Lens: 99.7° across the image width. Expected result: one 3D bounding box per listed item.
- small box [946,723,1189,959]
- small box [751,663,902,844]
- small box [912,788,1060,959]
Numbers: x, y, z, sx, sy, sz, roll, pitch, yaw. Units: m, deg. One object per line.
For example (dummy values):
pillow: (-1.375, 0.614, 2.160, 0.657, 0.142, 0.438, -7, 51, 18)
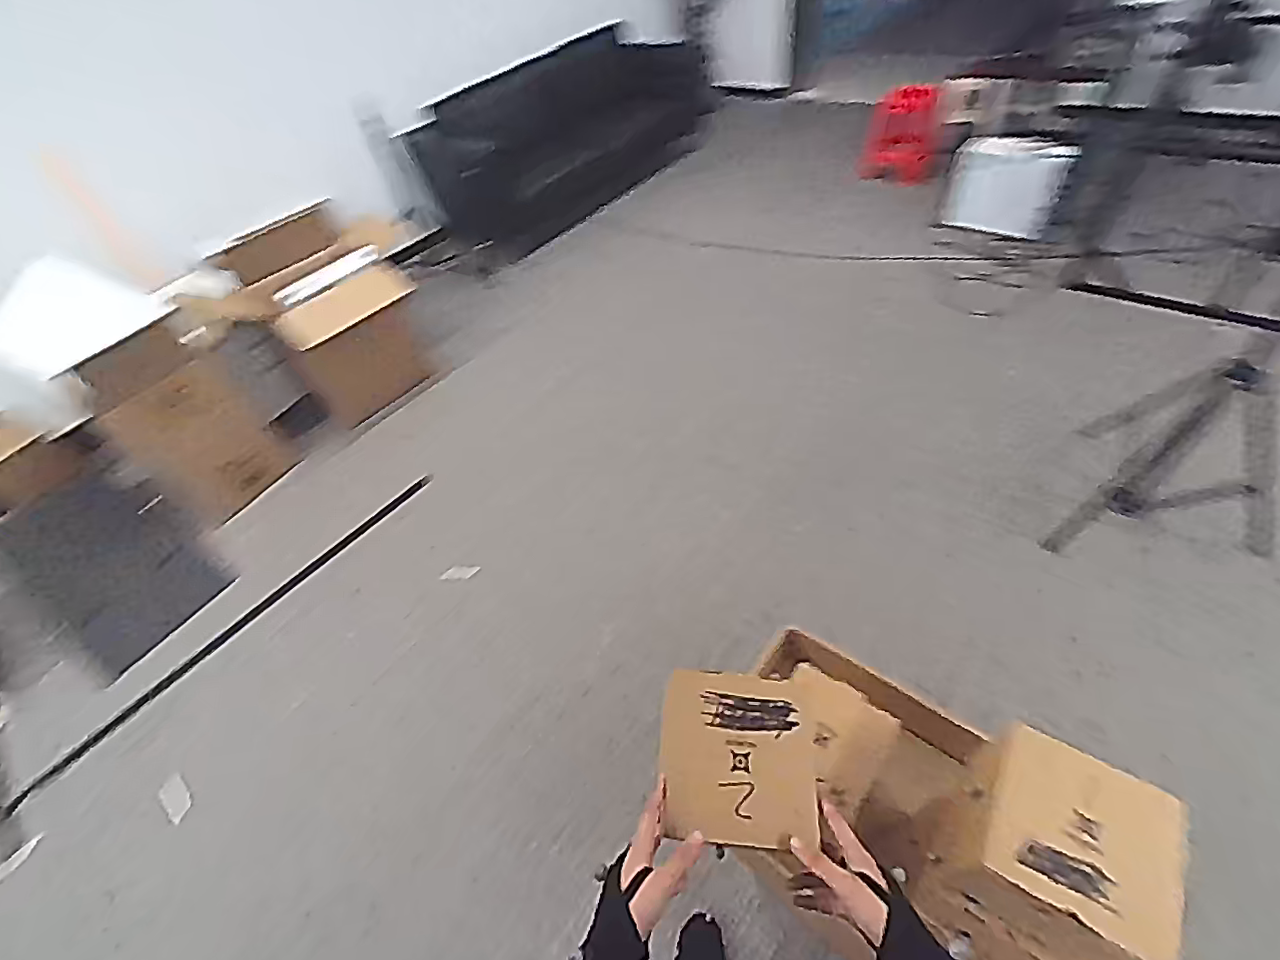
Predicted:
small box: (0.482, 0.431, 0.632, 0.168, 0.176, 0.179, 23, 56, 27)
small box: (0.291, 0.442, 0.877, 0.168, 0.176, 0.179, 28, 57, 32)
small box: (0.501, 0.550, 0.744, 0.168, 0.176, 0.179, 26, 58, 29)
